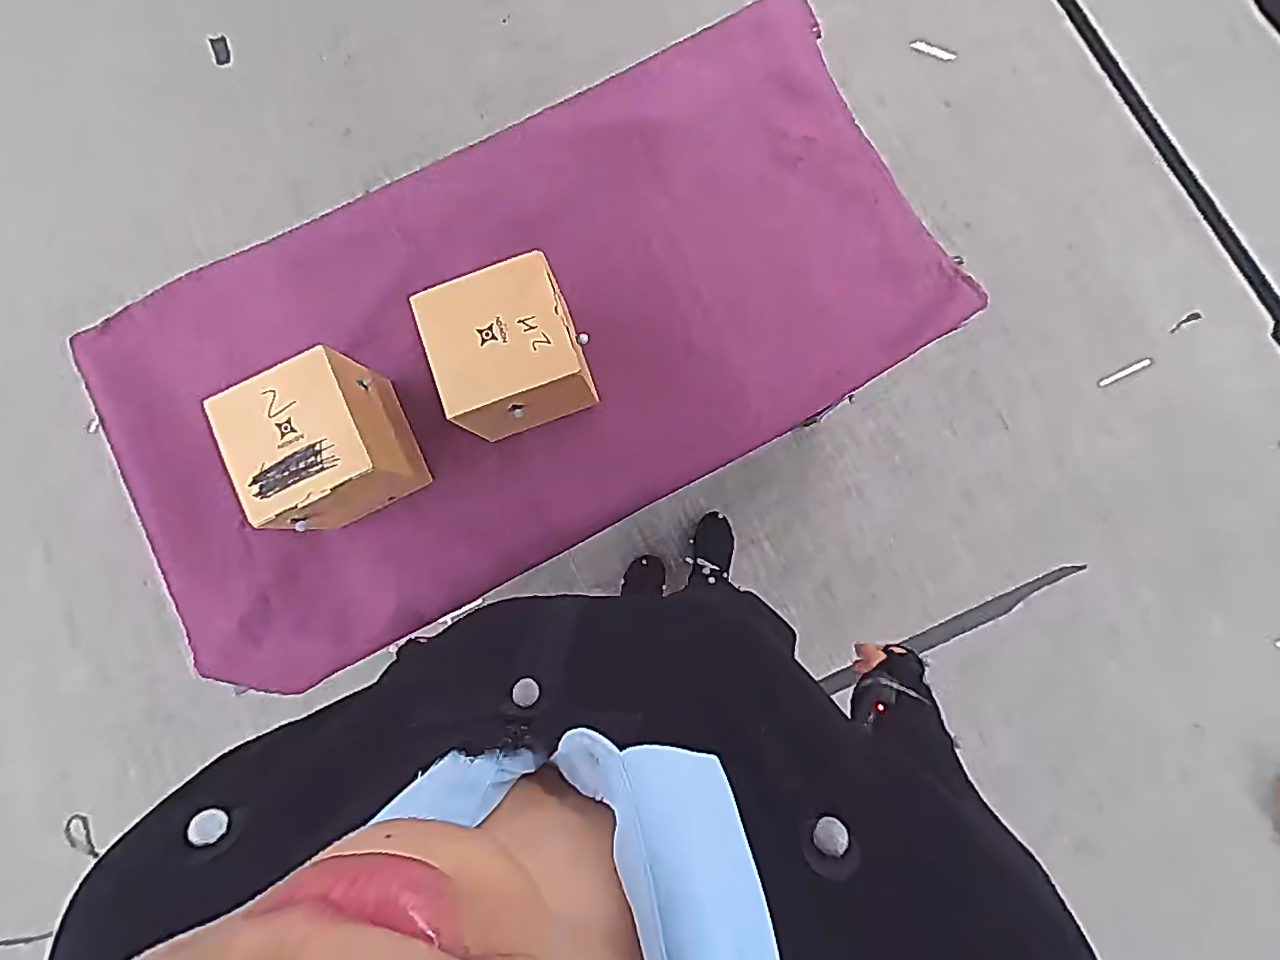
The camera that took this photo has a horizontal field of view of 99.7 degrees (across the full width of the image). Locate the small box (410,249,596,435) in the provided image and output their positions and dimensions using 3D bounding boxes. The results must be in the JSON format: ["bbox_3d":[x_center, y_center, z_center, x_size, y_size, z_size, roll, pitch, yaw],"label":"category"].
[{"bbox_3d":[-0.172,-0.171,0.730,0.179,0.176,0.168,-19,84,0],"label":"small box"}]
